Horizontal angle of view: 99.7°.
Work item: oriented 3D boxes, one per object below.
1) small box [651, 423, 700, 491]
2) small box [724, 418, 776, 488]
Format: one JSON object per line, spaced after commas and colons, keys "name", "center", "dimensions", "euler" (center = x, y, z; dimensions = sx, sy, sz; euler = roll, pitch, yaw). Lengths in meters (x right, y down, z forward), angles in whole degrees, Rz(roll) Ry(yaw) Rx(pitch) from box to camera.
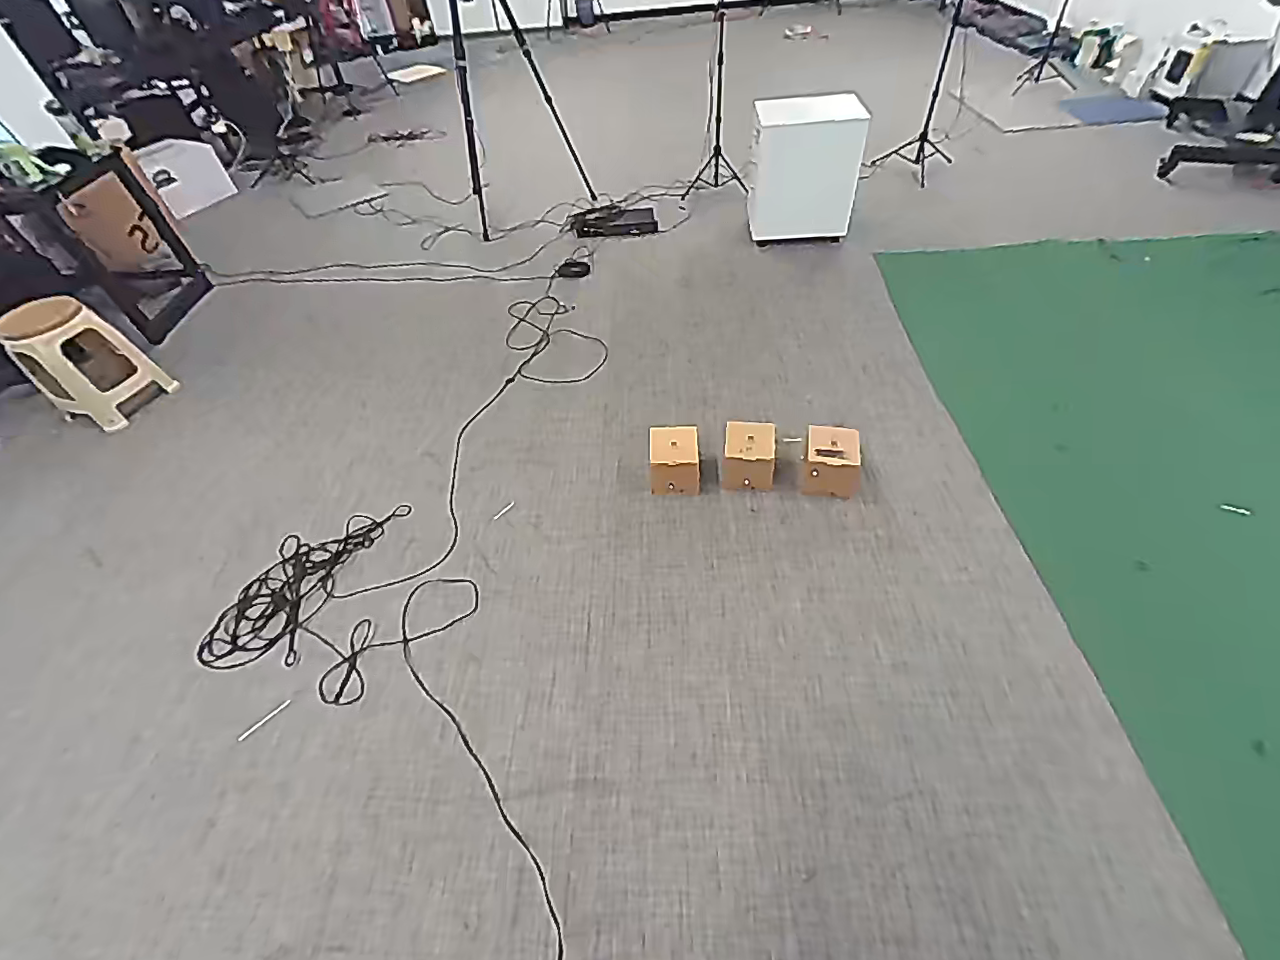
{"name": "small box", "center": [0.126, -0.081, 1.901], "dimensions": [0.168, 0.176, 0.179], "euler": [-2, 50, 4]}
{"name": "small box", "center": [0.382, -0.095, 1.887], "dimensions": [0.168, 0.176, 0.179], "euler": [4, 51, 10]}
